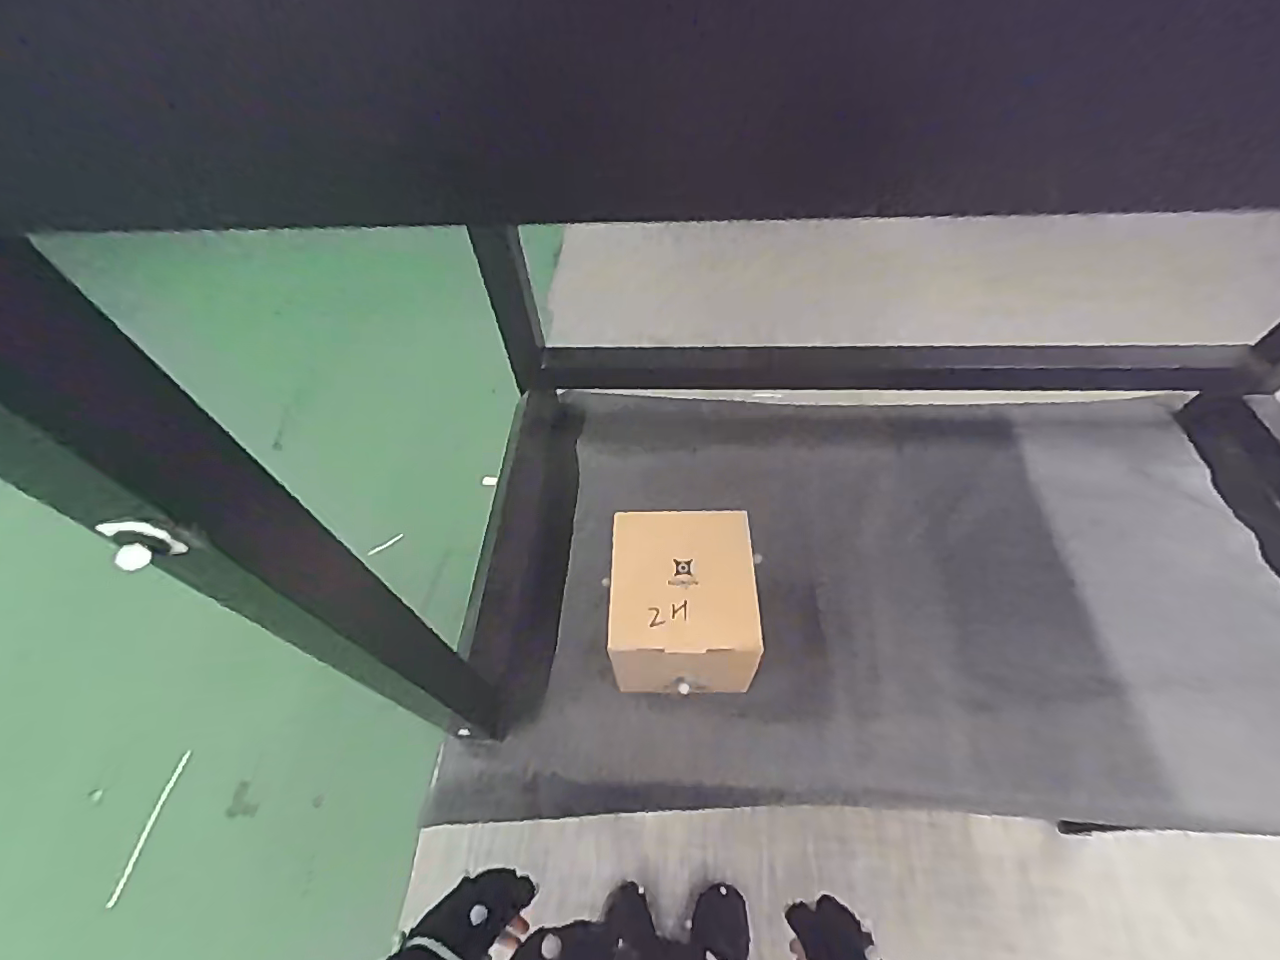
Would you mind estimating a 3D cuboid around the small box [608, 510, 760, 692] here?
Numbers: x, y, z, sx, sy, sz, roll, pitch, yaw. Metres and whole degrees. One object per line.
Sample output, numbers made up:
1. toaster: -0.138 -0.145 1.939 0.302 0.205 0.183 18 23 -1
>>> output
1. small box: 0.052 0.156 0.687 0.168 0.176 0.179 -1 54 3
